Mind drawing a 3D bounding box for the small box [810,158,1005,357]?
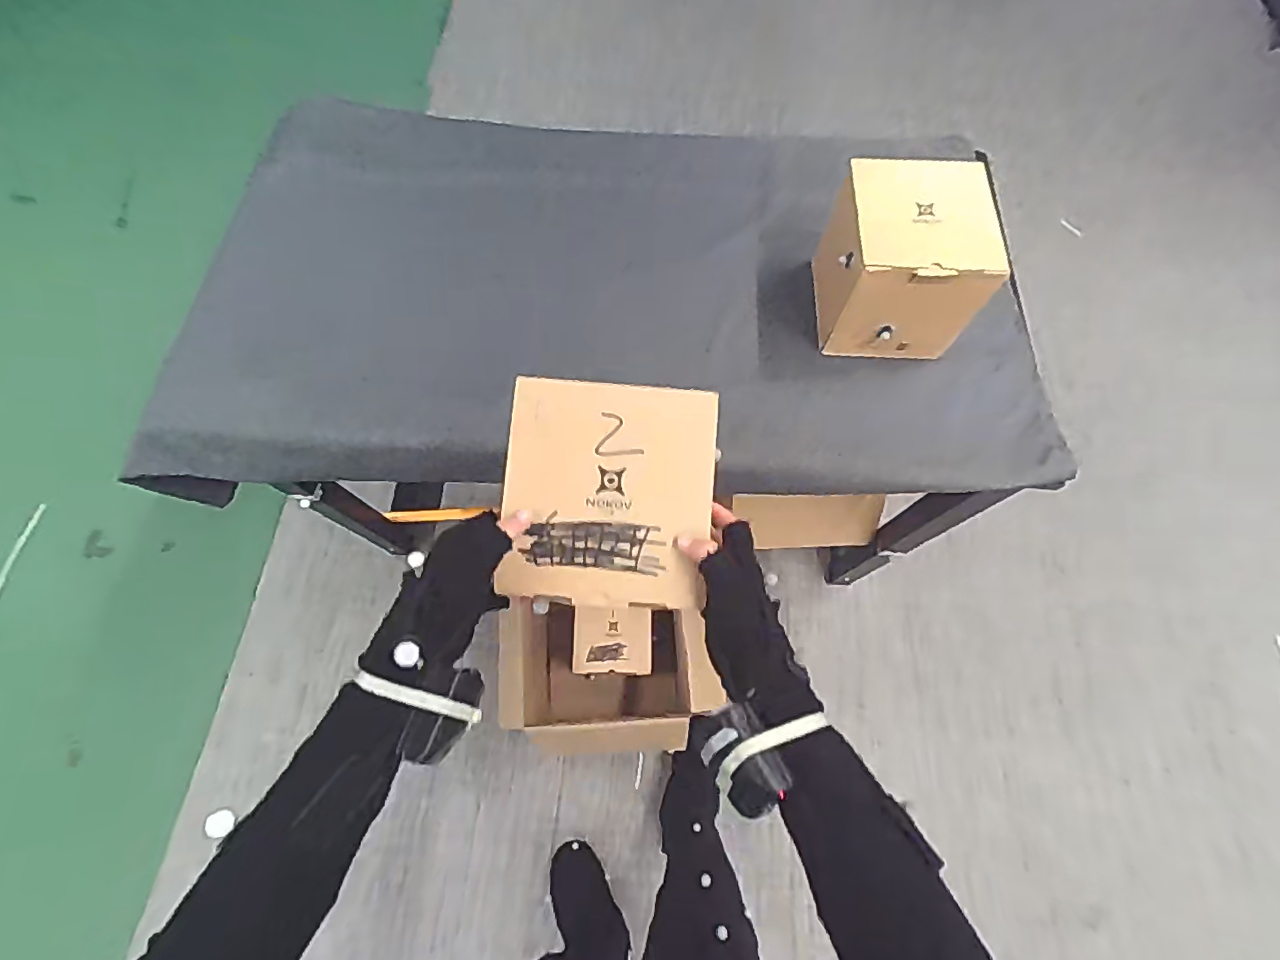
[{"bbox_3d":[0.332,-0.286,0.713,0.168,0.176,0.179,2,69,1],"label":"small box"}]
